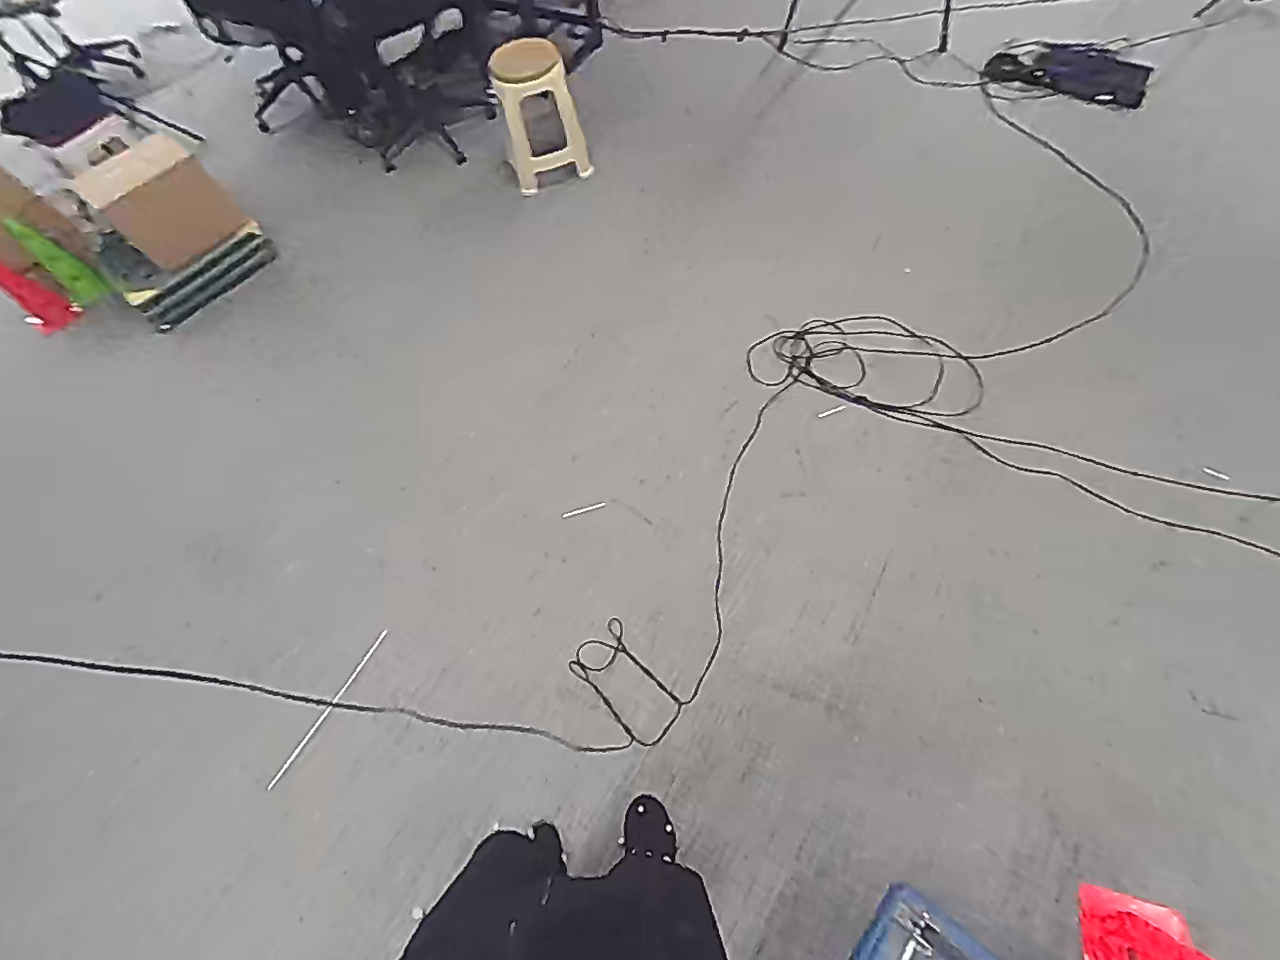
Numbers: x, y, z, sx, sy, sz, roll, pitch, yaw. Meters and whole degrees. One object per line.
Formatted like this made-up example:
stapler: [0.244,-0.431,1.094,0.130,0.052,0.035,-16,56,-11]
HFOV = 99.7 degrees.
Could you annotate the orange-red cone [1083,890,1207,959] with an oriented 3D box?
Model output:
orange-red cone: [1.019,0.914,0.971,0.198,0.360,0.199,13,64,12]
